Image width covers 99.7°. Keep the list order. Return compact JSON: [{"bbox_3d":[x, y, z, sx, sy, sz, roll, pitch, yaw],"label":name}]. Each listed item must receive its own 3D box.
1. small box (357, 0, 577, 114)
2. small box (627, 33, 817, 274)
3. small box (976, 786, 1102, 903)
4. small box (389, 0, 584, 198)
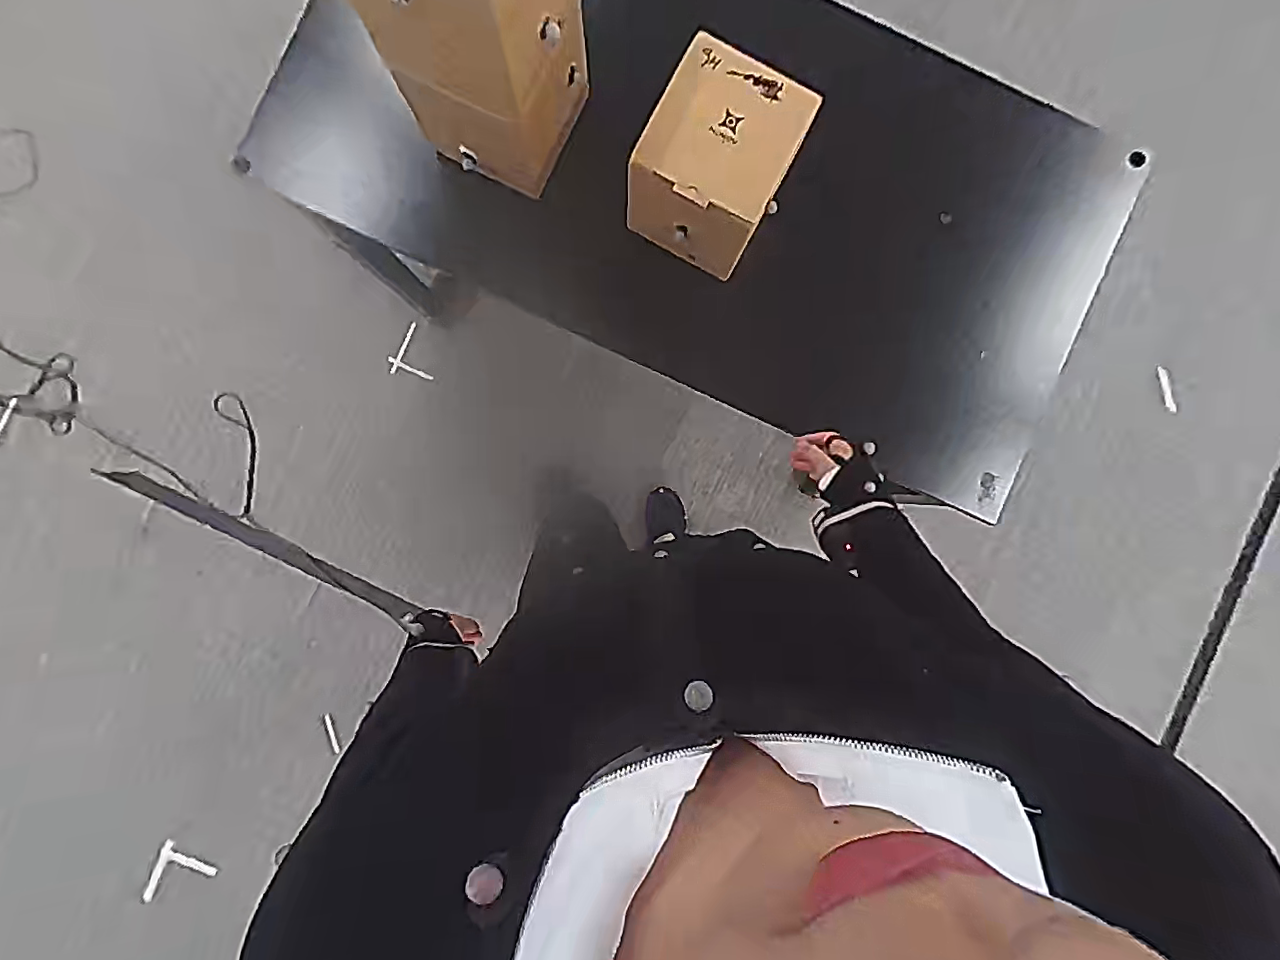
[{"bbox_3d":[-0.176,-0.512,0.531,0.179,0.176,0.168,23,88,-1],"label":"small box"},{"bbox_3d":[0.094,-0.402,0.701,0.168,0.176,0.179,27,89,-2],"label":"small box"},{"bbox_3d":[1.053,0.958,1.441,0.179,0.176,0.168,26,88,-1],"label":"small box"},{"bbox_3d":[-0.180,-0.511,0.695,0.168,0.176,0.179,24,89,0],"label":"small box"}]
